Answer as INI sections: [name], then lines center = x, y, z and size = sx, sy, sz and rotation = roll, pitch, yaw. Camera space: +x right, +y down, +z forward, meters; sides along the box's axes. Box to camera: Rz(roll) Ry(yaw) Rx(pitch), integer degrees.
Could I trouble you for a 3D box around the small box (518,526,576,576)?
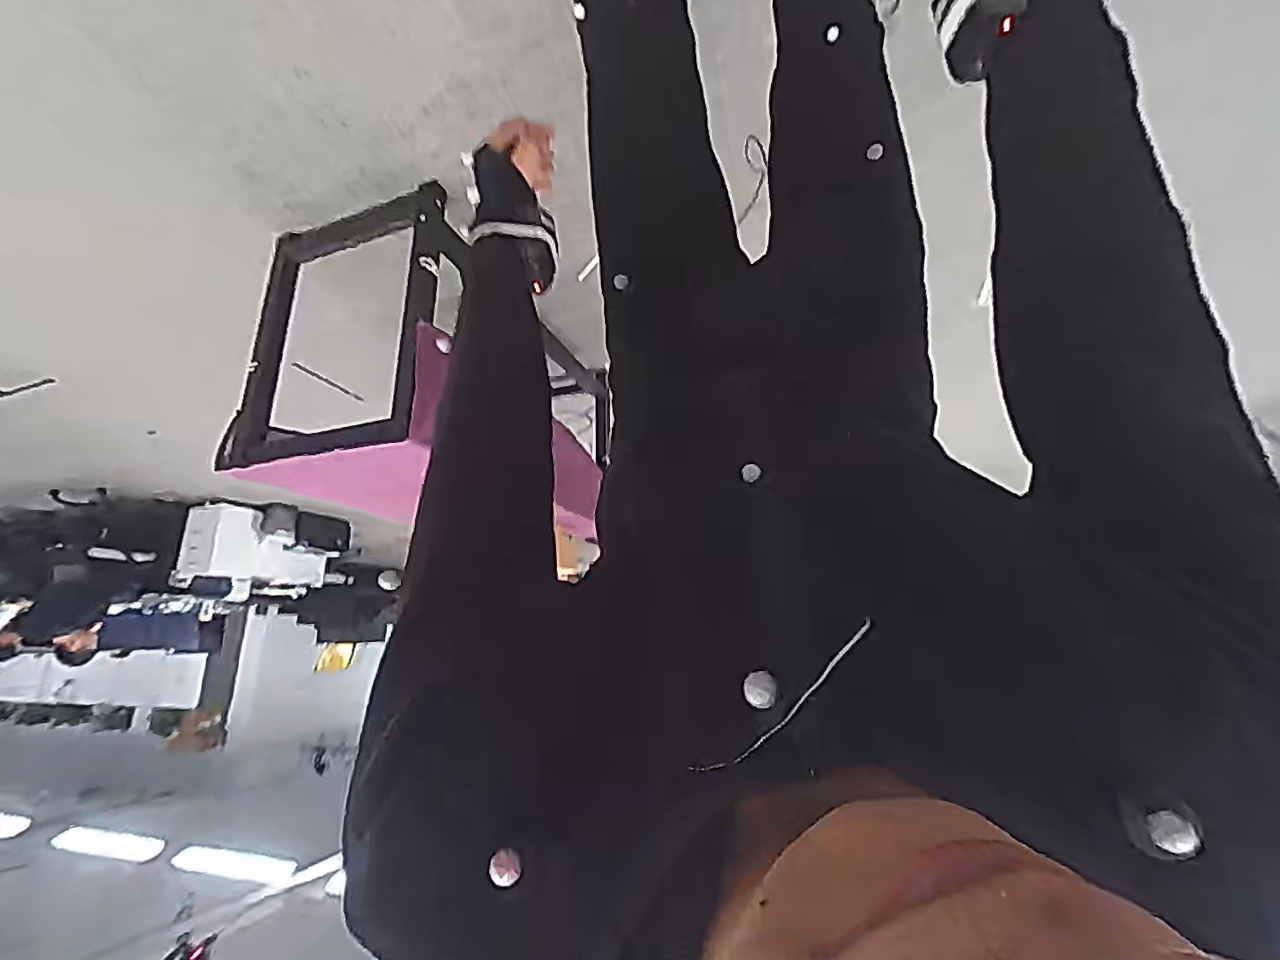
[small box]
center = -0.367, 0.286, 2.158
size = 0.179, 0.176, 0.168
rotation = -9, 162, 22
